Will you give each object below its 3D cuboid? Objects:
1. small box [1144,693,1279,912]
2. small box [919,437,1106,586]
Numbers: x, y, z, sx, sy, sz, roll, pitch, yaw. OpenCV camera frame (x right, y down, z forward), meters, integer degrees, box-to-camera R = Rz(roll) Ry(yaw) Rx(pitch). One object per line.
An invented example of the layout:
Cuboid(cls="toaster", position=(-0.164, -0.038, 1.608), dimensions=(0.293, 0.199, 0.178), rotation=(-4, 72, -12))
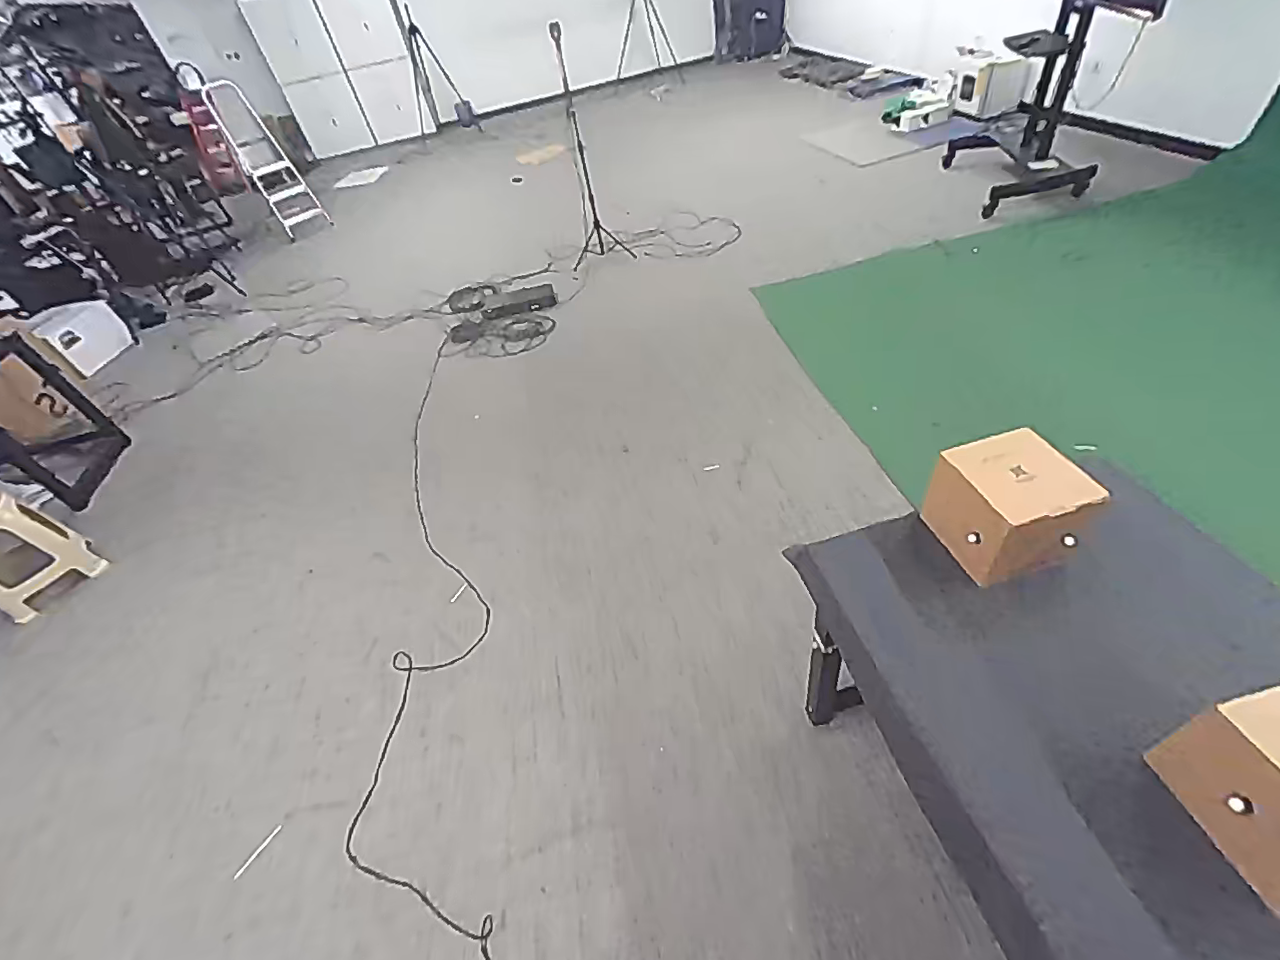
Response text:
Cuboid(cls="small box", position=(0.732, 0.351, 0.591), dimensions=(0.168, 0.176, 0.179), rotation=(-13, 43, -3))
Cuboid(cls="small box", position=(0.610, 0.059, 0.914), dimensions=(0.168, 0.176, 0.179), rotation=(-14, 43, -5))
